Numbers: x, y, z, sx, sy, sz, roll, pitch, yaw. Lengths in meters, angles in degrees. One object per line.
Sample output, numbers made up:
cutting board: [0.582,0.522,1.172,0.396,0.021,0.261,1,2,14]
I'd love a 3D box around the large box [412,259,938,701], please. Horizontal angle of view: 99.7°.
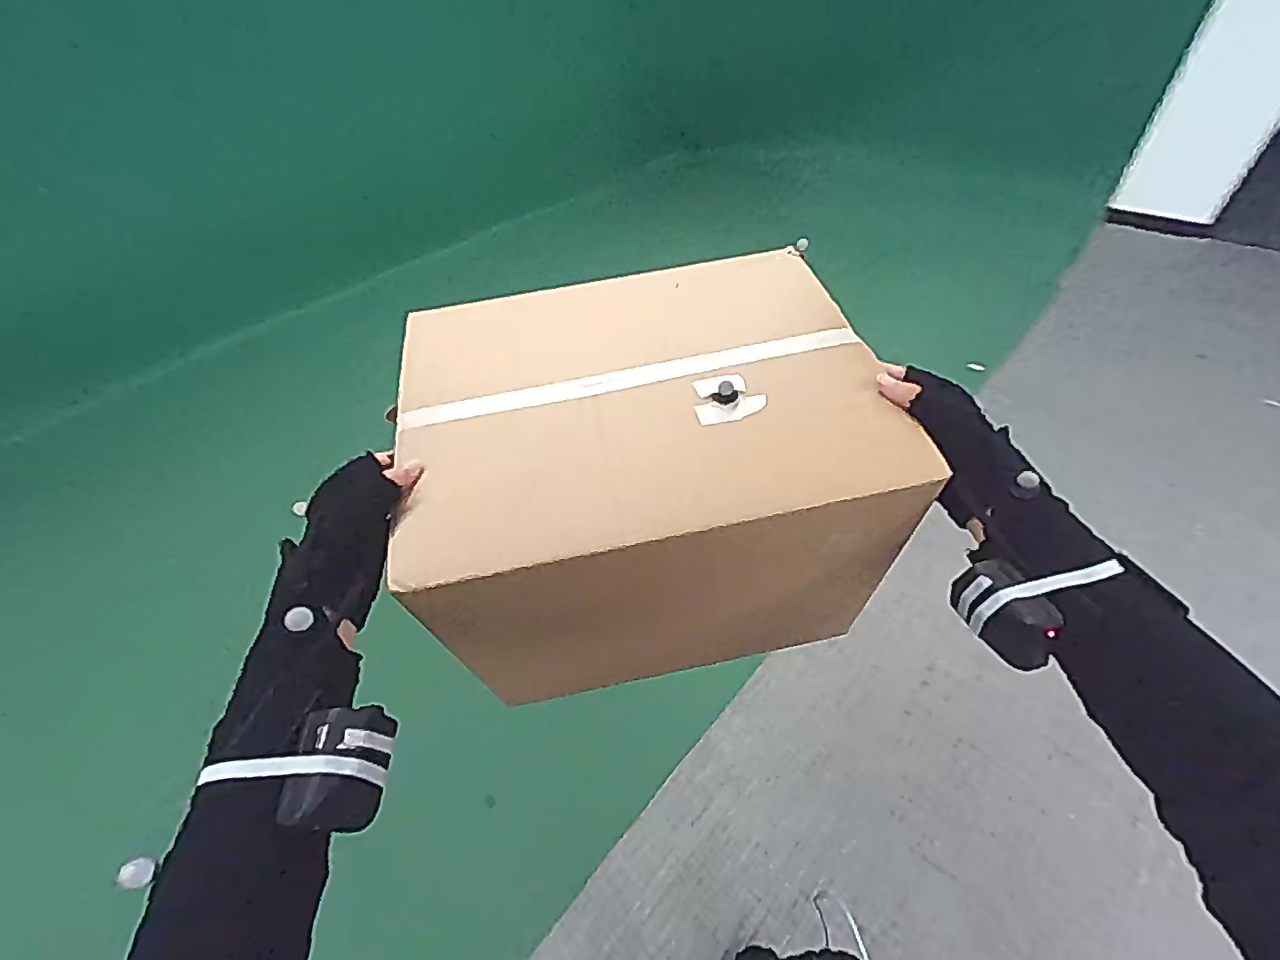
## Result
large box: [0.011,0.008,0.596,0.408,0.320,0.320,-11,54,-4]
